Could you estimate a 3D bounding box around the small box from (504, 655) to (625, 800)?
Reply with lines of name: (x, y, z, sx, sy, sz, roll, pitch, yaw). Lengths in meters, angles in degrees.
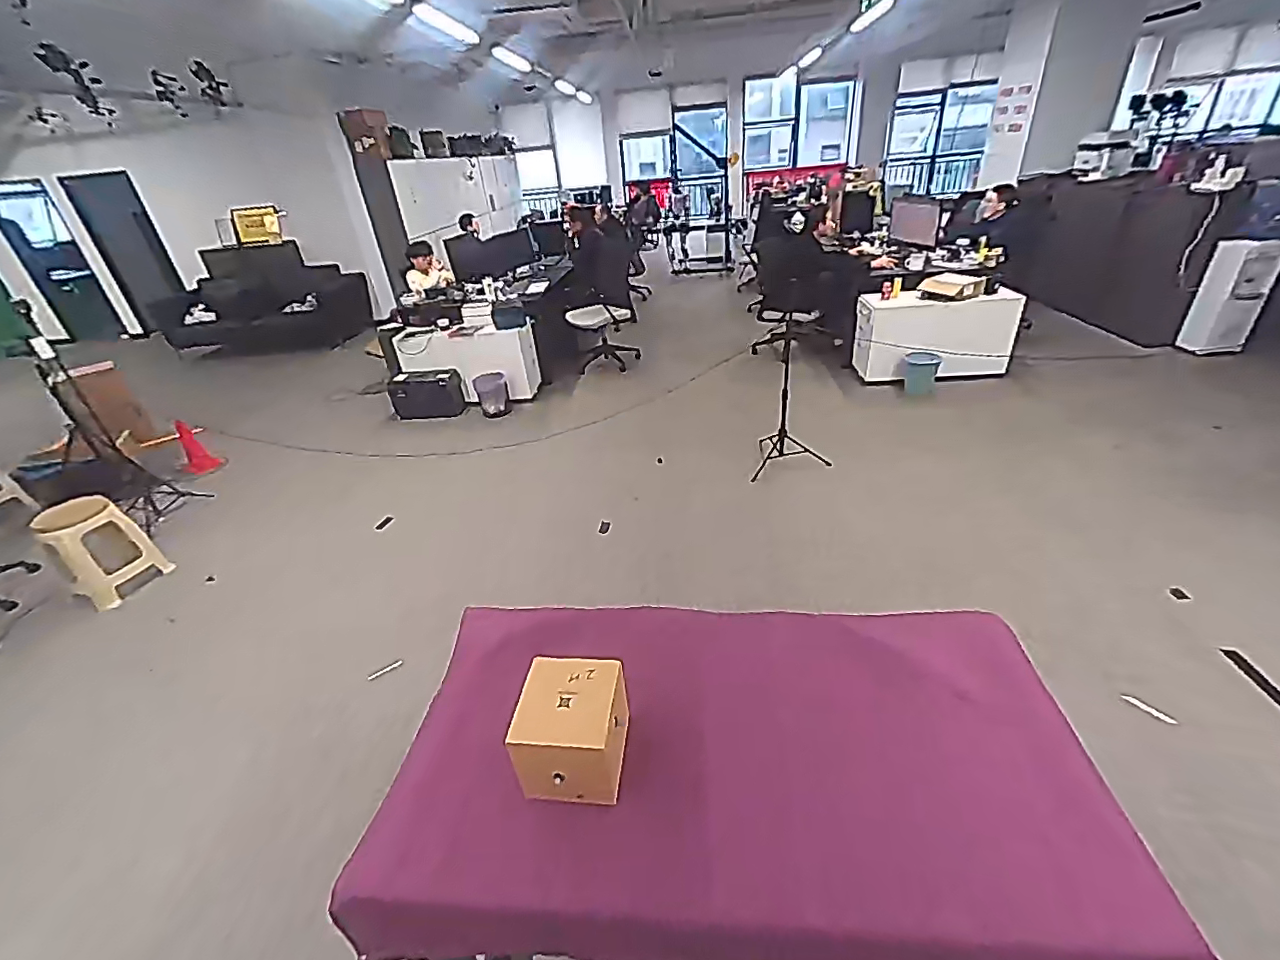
small box: (-0.123, 0.443, 0.971, 0.168, 0.176, 0.179, 1, 32, 8)
